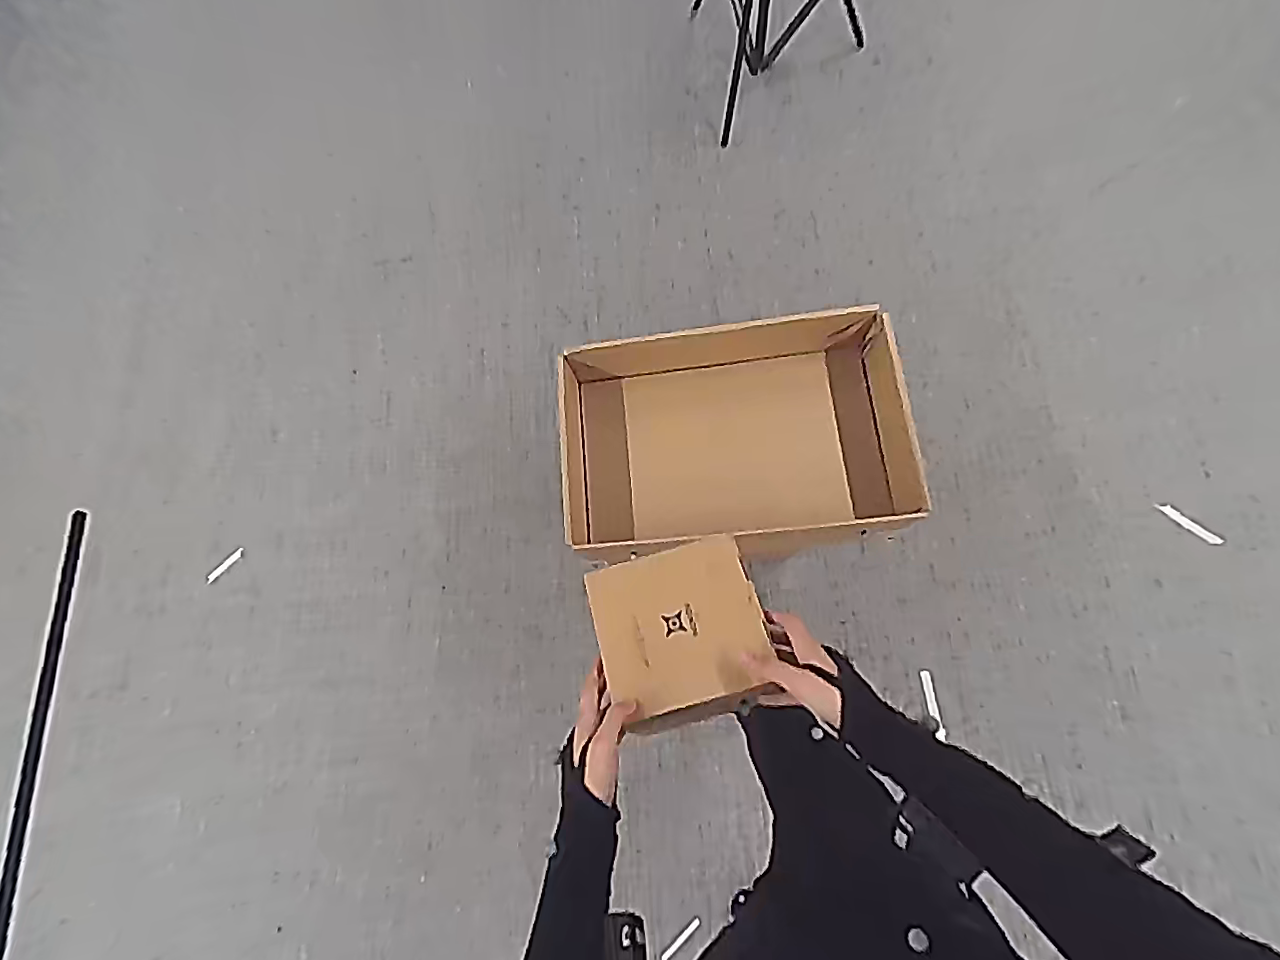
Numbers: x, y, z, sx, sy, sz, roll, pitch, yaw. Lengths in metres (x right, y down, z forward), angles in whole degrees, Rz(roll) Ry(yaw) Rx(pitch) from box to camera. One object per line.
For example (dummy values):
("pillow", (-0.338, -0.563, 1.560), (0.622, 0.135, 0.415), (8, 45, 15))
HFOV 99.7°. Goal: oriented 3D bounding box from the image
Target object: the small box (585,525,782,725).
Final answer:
("small box", (0.049, 0.178, 0.643), (0.179, 0.176, 0.168), (-16, 60, -1))
